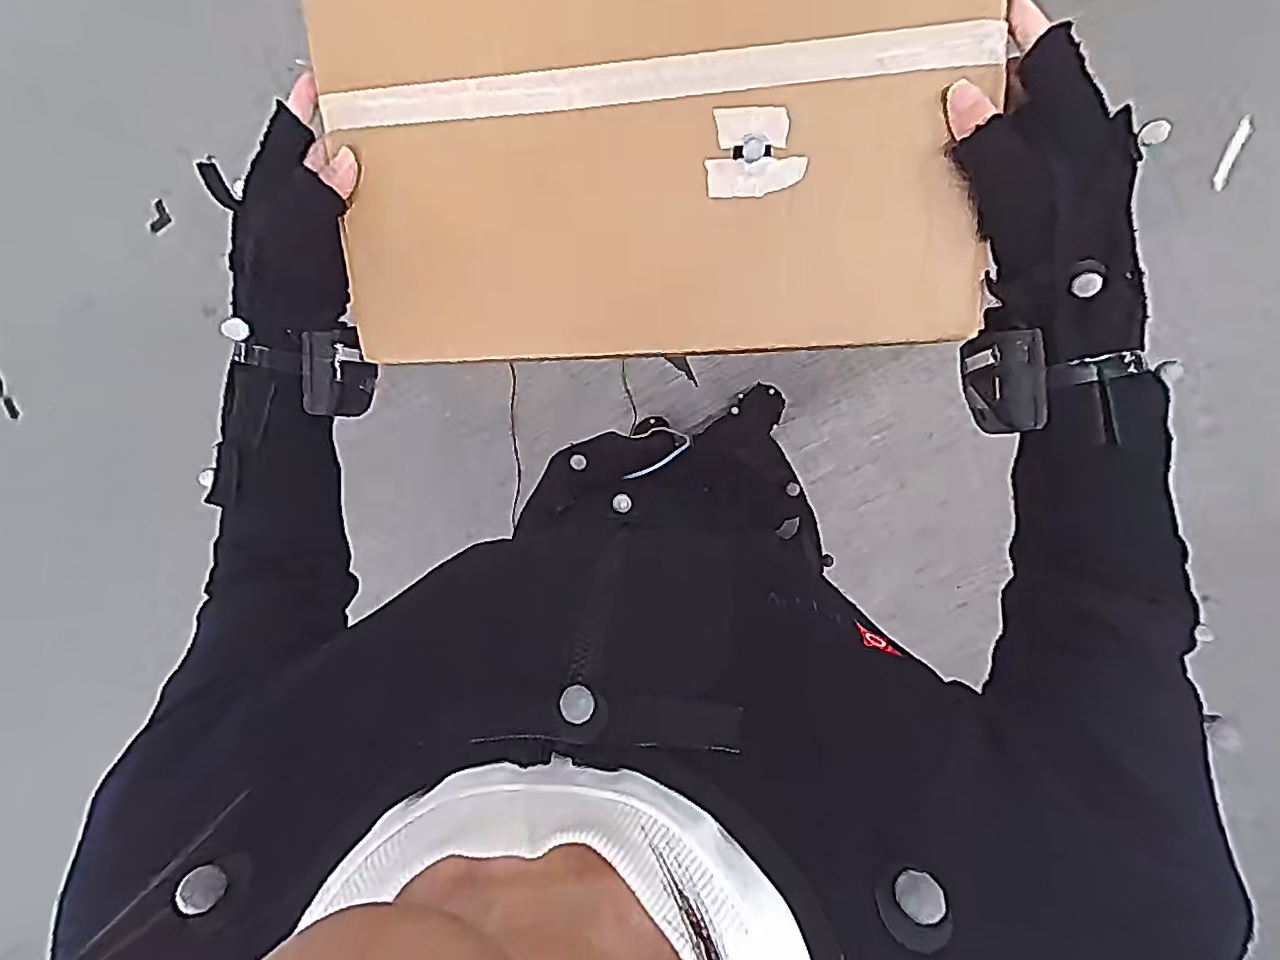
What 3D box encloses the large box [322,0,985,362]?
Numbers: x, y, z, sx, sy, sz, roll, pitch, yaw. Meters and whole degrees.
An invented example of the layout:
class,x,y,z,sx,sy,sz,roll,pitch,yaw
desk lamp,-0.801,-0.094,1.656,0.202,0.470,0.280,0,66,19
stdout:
class,x,y,z,sx,sy,sz,roll,pitch,yaw
large box,0.013,-0.278,0.477,0.408,0.320,0.320,-2,104,6
